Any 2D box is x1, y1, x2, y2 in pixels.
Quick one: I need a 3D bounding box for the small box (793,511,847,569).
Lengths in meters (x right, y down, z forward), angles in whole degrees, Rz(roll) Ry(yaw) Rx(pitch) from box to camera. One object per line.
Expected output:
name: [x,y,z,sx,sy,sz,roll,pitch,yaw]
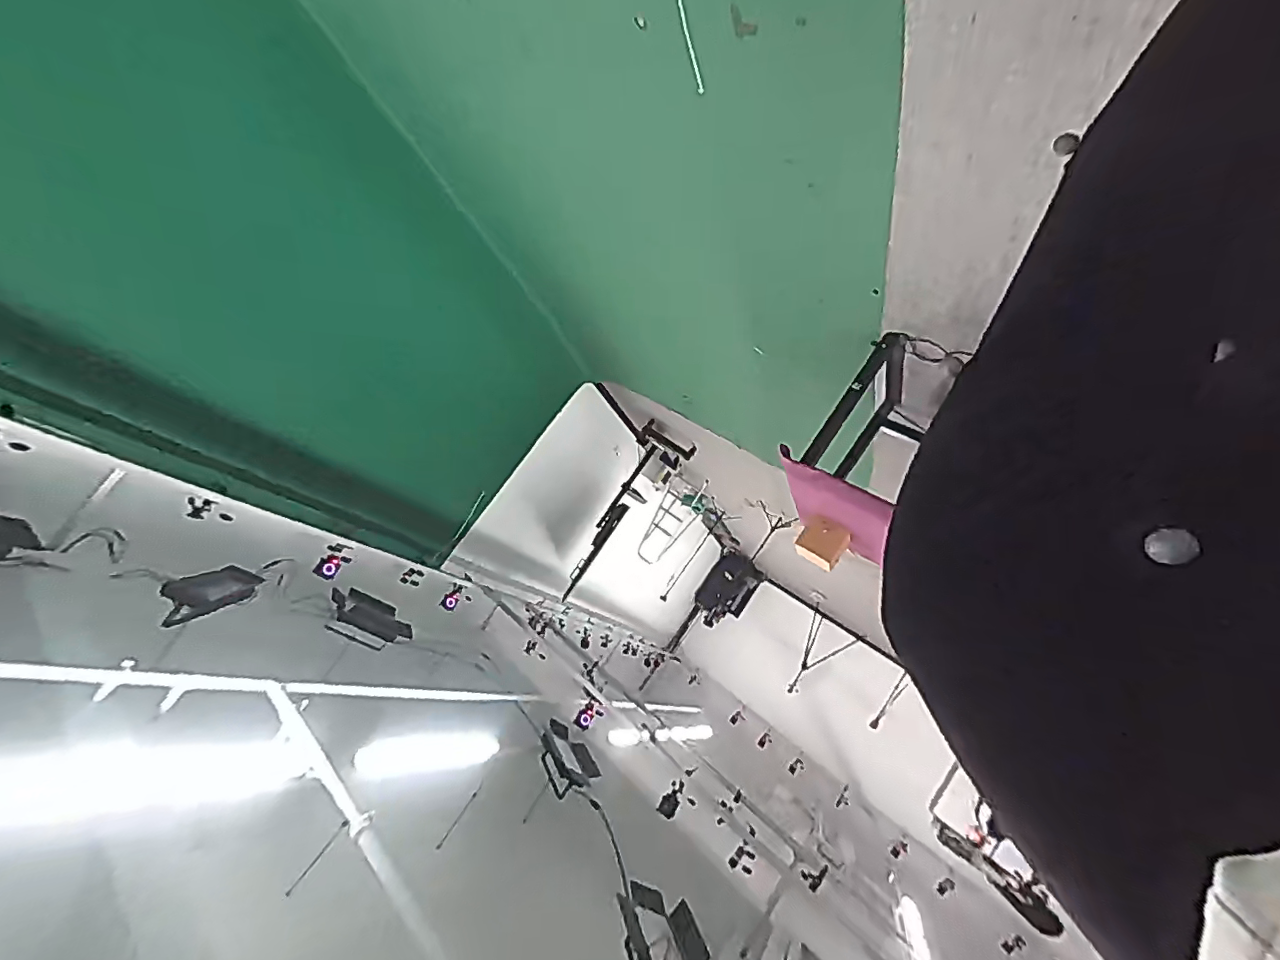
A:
small box: [0.786,0.260,2.351,0.168,0.176,0.179,30,171,28]
